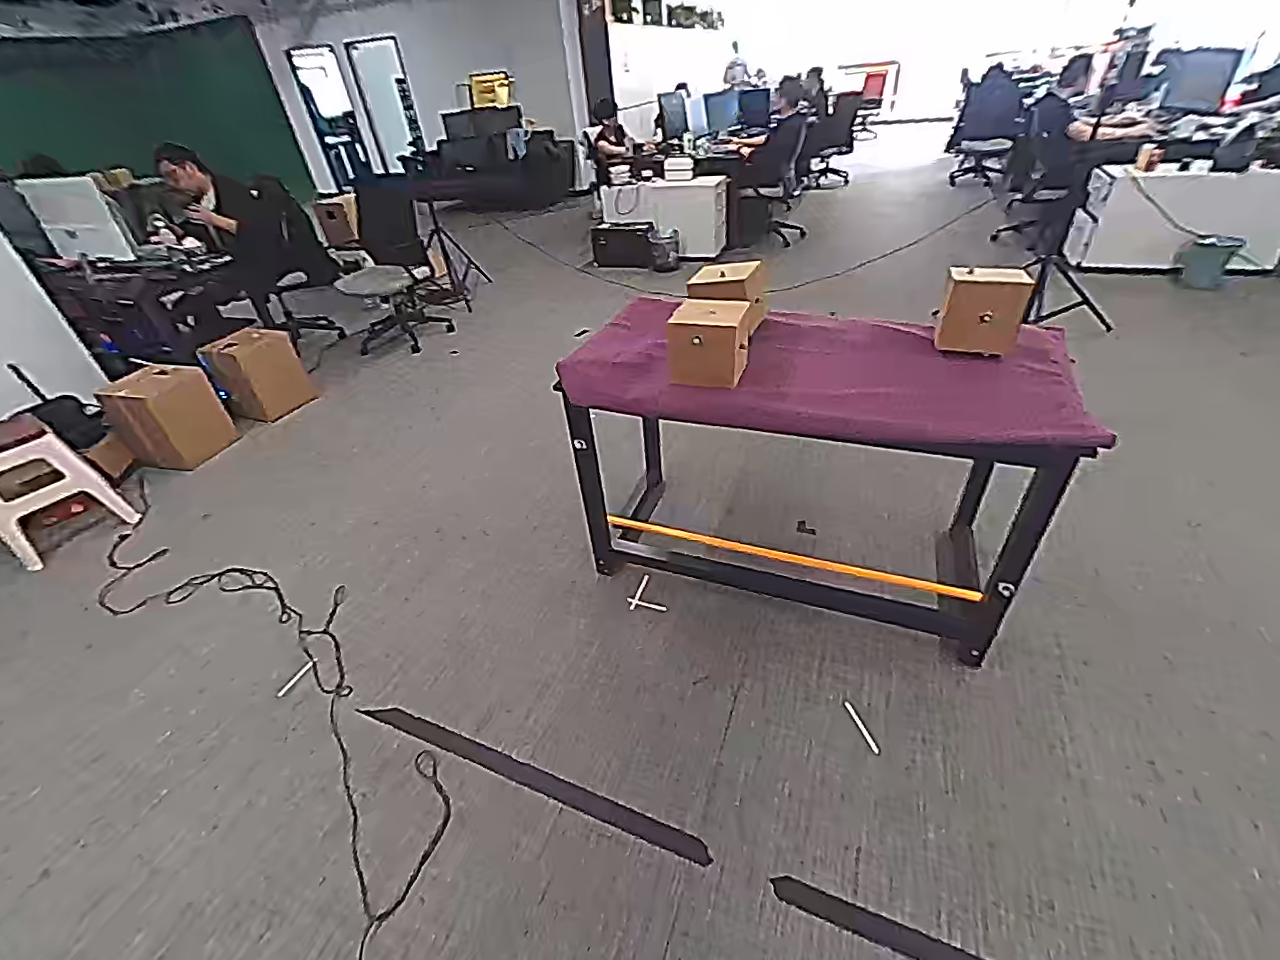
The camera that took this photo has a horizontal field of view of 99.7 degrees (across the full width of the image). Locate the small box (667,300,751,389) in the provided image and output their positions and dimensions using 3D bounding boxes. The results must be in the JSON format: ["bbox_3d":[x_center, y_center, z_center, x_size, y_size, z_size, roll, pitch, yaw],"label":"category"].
[{"bbox_3d":[0.179,-0.347,1.387,0.179,0.176,0.168,9,39,19],"label":"small box"}]

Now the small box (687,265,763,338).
[{"bbox_3d":[0.257,-0.522,1.586,0.179,0.168,0.176,6,37,27],"label":"small box"}]
